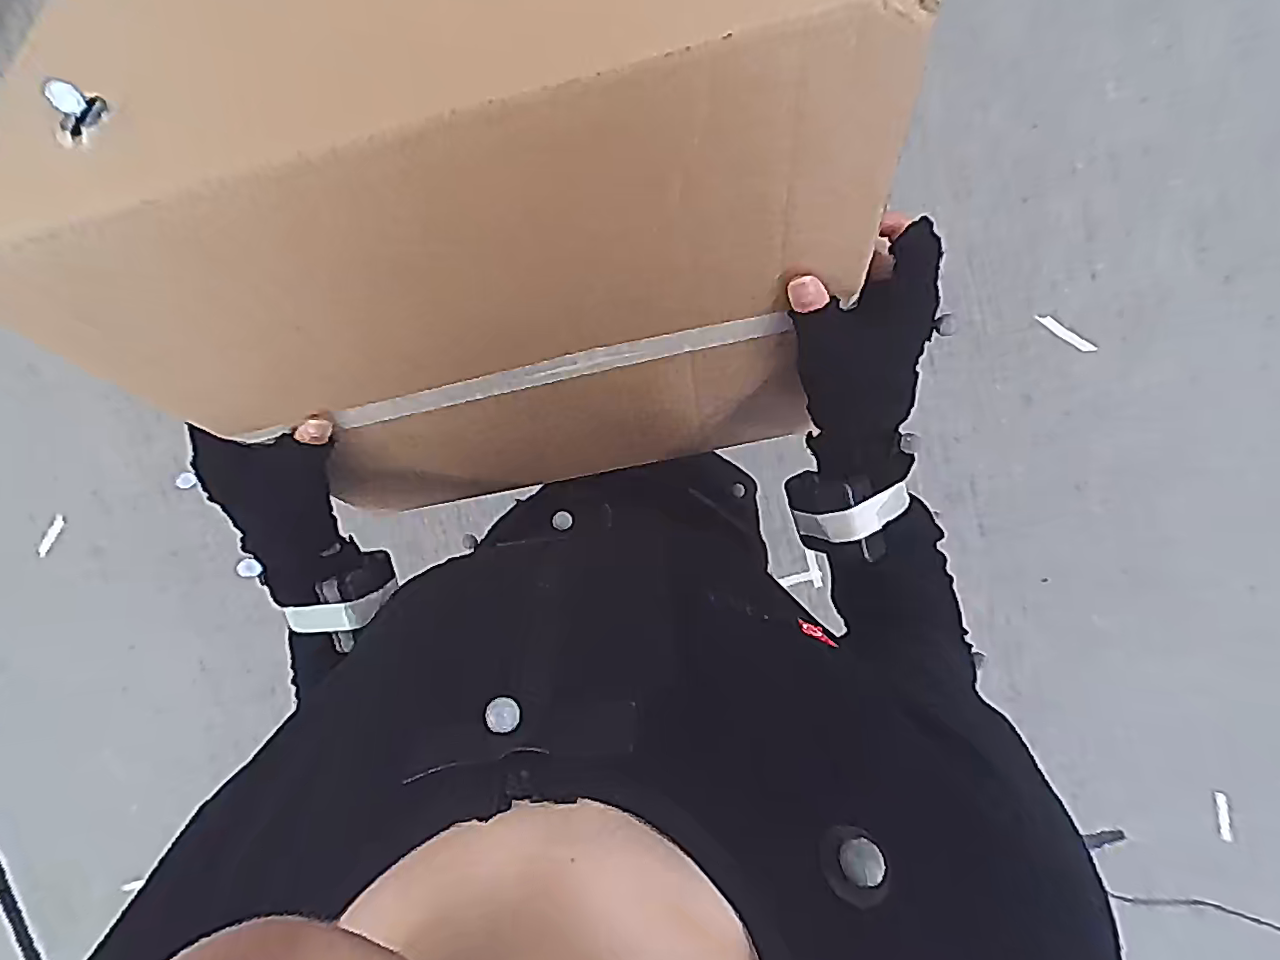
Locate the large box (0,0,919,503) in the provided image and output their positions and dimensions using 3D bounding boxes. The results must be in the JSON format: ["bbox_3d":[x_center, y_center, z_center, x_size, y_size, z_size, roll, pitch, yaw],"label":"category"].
[{"bbox_3d":[-0.091,-0.211,0.404,0.408,0.320,0.320,-11,66,5],"label":"large box"}]
